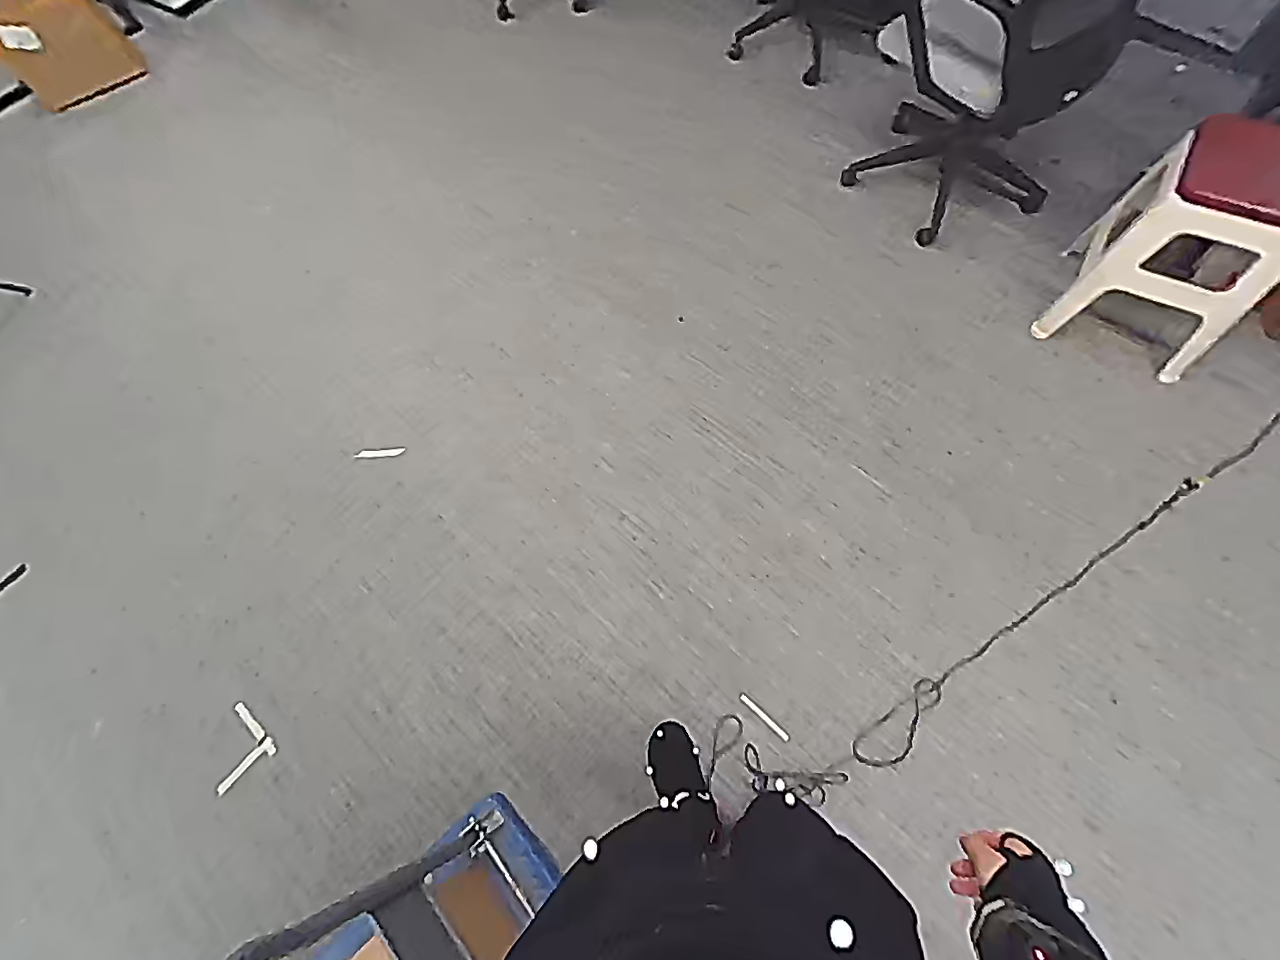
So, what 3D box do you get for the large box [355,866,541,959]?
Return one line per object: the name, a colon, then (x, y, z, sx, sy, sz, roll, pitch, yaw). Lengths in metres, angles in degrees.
large box: (-0.308, 0.924, 0.833, 0.320, 0.320, 0.408, -41, 68, -12)
